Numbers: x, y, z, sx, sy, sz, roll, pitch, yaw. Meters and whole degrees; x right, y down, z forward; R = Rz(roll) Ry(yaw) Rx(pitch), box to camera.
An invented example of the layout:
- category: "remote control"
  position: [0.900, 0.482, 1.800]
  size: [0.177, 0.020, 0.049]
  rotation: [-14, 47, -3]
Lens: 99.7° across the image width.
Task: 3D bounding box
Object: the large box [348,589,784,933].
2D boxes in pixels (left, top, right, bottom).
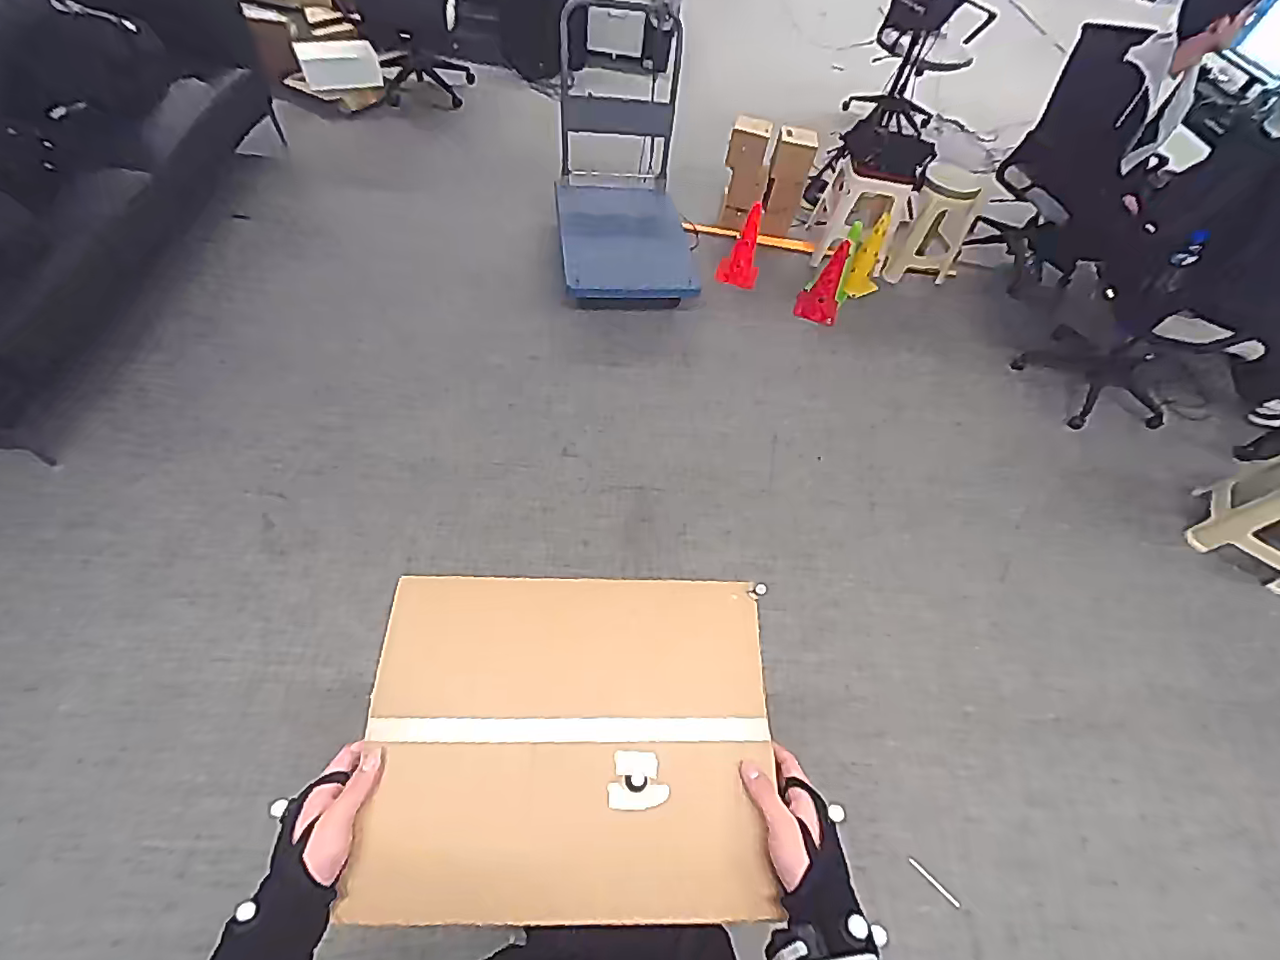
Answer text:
- category: "large box"
  position: [-0.075, 0.334, 0.688]
  size: [0.408, 0.320, 0.320]
  rotation: [1, 63, -3]
